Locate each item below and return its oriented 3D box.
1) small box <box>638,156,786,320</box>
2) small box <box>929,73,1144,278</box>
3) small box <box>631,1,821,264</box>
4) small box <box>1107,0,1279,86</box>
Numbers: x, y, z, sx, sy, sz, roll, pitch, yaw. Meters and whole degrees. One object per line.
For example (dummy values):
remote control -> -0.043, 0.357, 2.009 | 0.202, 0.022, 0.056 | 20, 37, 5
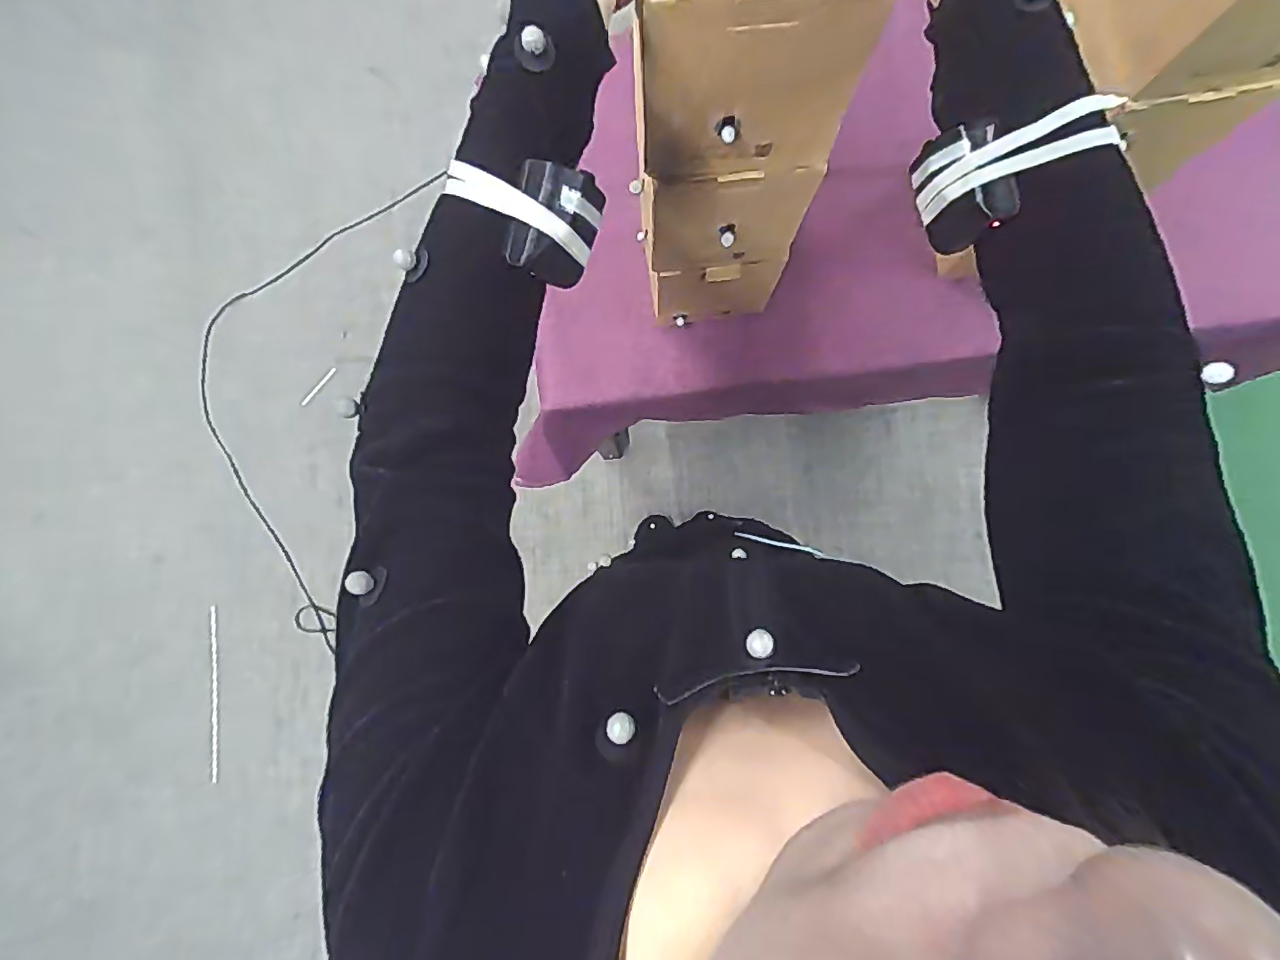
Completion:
small box -> 0.092, -0.337, 0.749 | 0.168, 0.176, 0.179 | -8, 83, 1
small box -> 0.521, -0.403, 0.739 | 0.168, 0.176, 0.179 | -5, 85, 2
small box -> 0.083, -0.353, 0.586 | 0.168, 0.176, 0.179 | -6, 85, 1
small box -> 0.506, -0.443, 0.414 | 0.168, 0.176, 0.179 | -8, 83, 1
